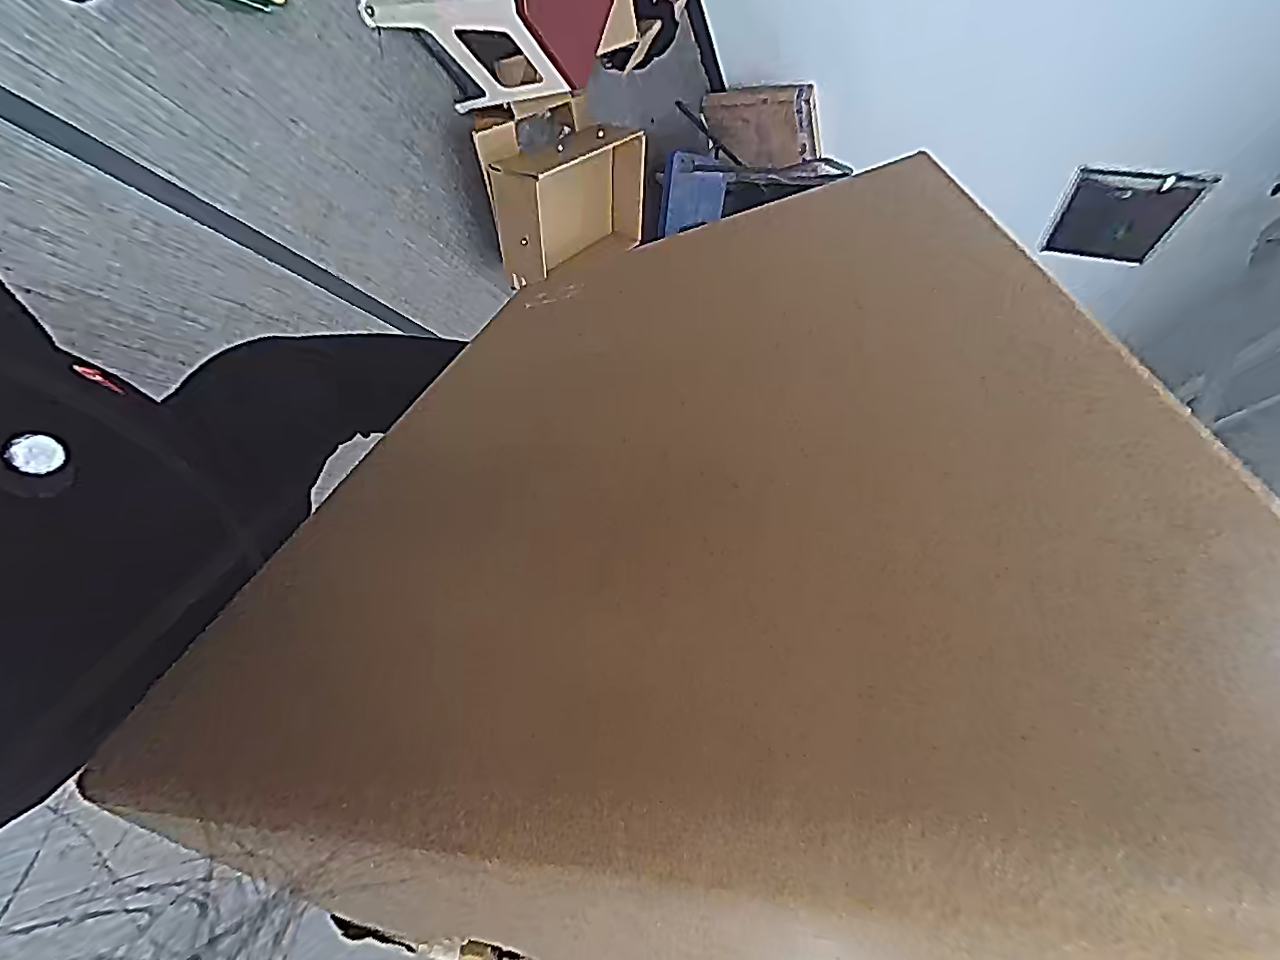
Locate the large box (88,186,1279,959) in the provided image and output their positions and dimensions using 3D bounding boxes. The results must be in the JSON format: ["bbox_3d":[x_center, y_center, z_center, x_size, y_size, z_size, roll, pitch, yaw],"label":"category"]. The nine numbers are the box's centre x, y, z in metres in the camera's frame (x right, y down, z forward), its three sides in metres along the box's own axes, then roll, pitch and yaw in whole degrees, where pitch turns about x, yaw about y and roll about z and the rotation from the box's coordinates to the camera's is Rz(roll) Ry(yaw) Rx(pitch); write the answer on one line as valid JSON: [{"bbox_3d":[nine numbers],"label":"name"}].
[{"bbox_3d":[0.049,0.060,0.345,0.408,0.320,0.320,-72,147,-48],"label":"large box"}]
